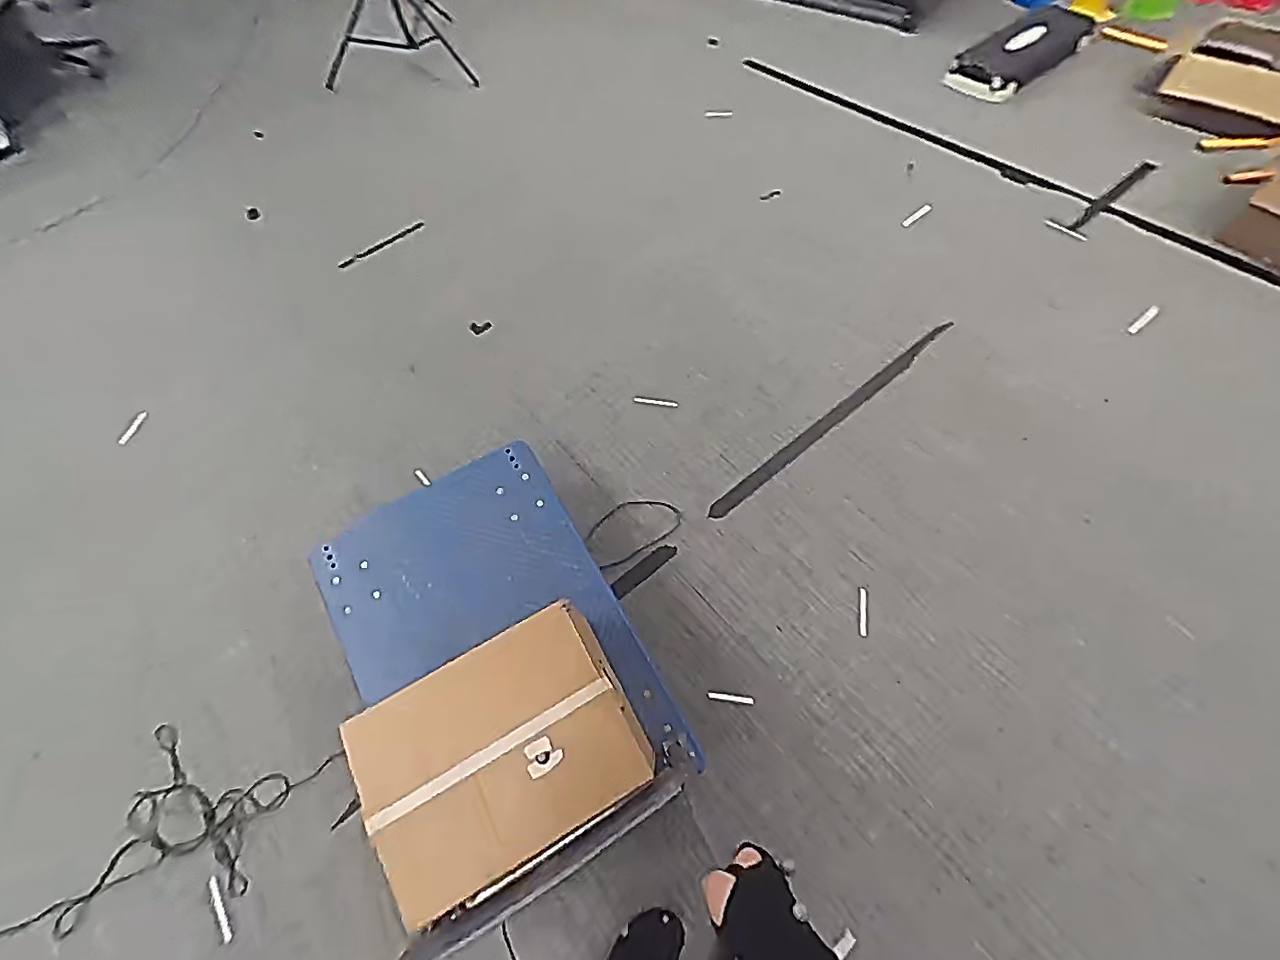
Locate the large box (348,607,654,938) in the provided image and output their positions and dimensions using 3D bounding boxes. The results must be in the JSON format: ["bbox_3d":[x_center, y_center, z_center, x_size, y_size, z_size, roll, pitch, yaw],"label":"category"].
[{"bbox_3d":[-0.220,0.490,0.982,0.408,0.320,0.320,-29,71,-10],"label":"large box"}]
